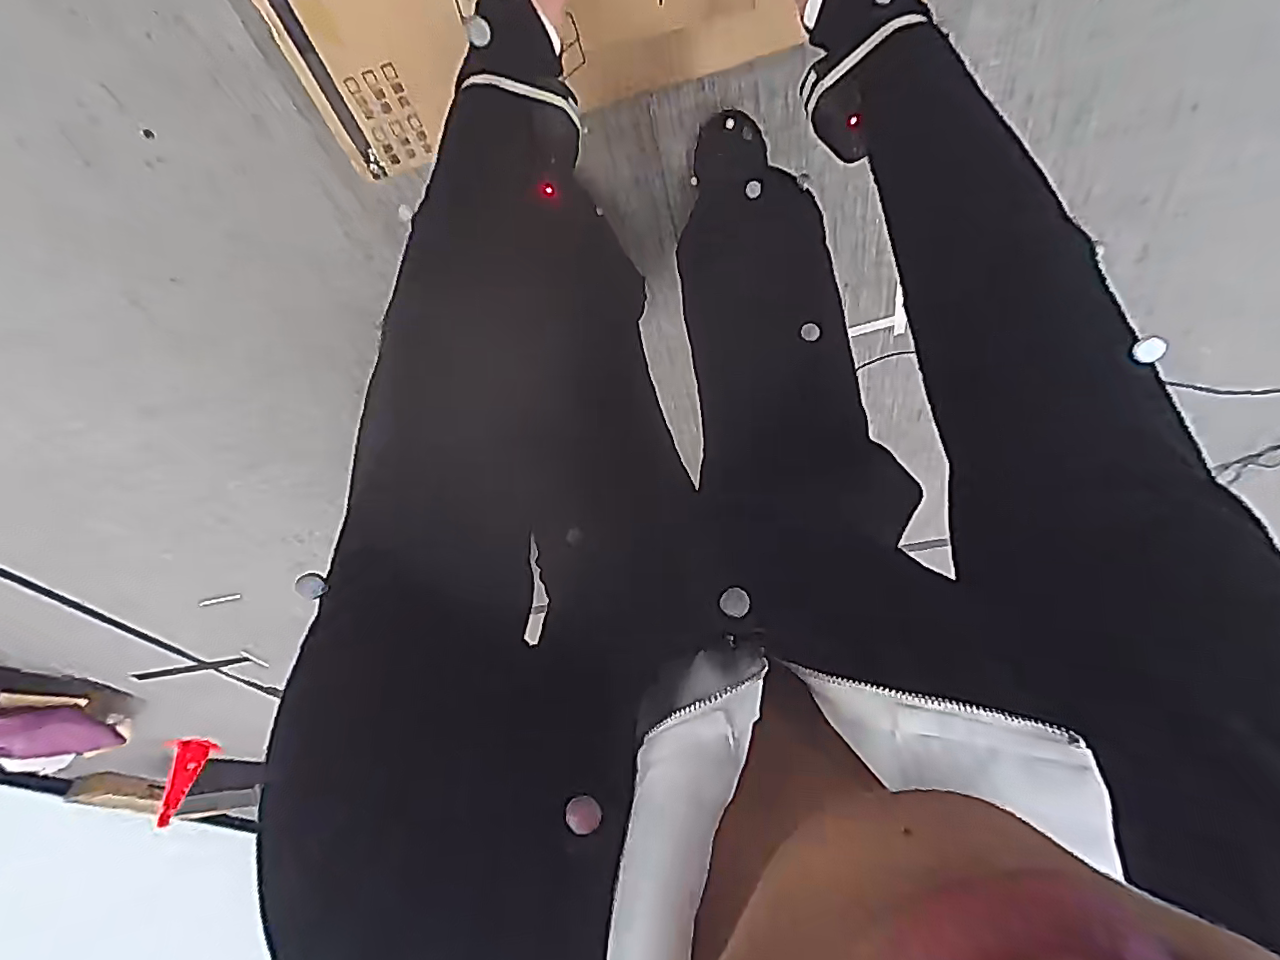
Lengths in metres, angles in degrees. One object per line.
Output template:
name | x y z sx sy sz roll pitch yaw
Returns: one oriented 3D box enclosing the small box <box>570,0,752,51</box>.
small box | 0.003 -0.534 0.494 0.168 0.176 0.179 -9 139 7
